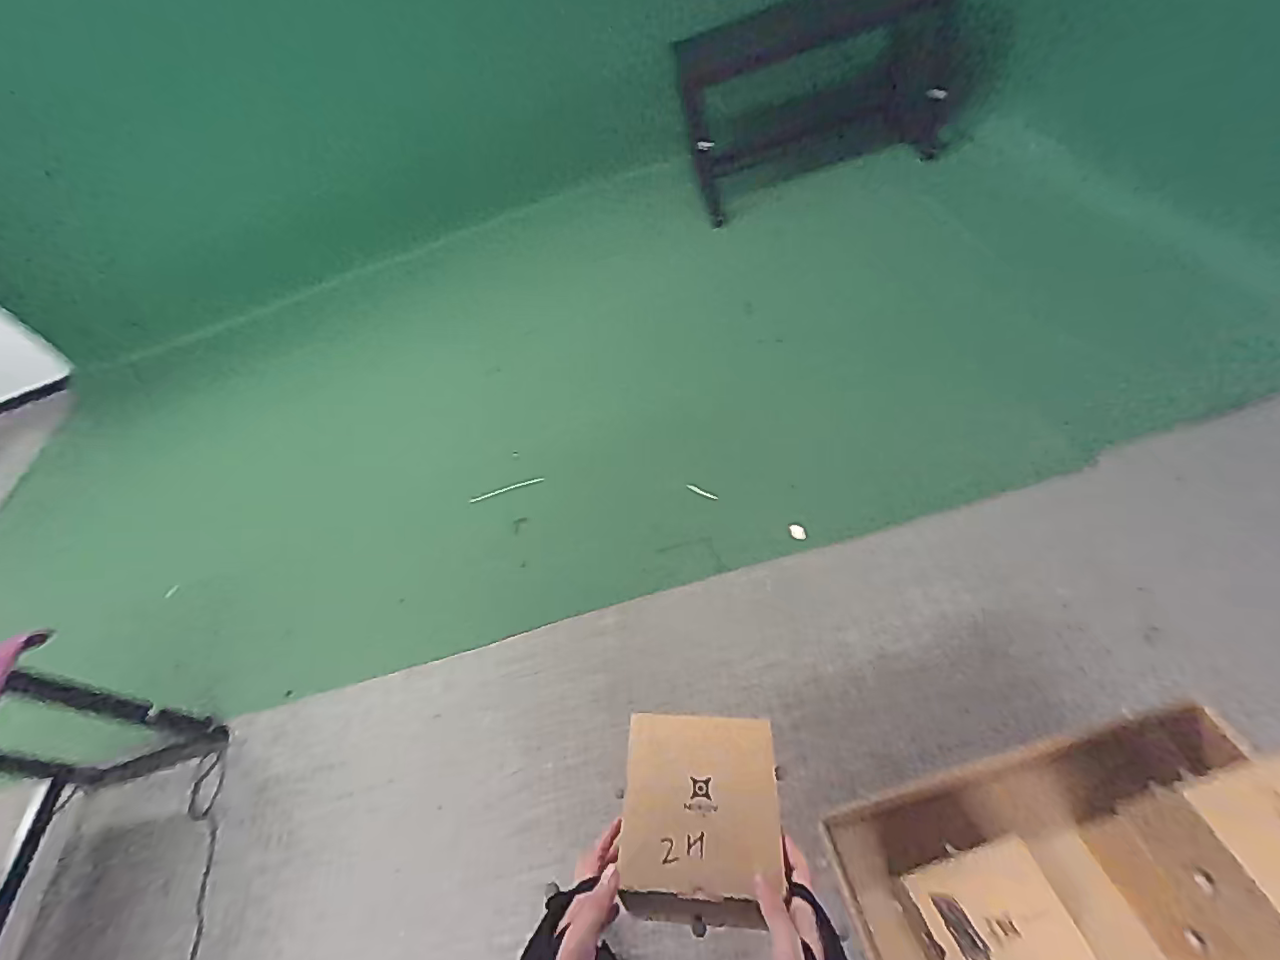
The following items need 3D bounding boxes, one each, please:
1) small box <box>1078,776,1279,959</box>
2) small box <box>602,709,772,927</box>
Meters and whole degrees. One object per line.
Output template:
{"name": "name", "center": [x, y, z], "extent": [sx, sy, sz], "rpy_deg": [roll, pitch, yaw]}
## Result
{"name": "small box", "center": [0.768, 0.542, 0.746], "extent": [0.168, 0.176, 0.179], "rpy_deg": [-21, 51, 0]}
{"name": "small box", "center": [0.055, 0.390, 0.629], "extent": [0.168, 0.176, 0.179], "rpy_deg": [-2, 44, 6]}
